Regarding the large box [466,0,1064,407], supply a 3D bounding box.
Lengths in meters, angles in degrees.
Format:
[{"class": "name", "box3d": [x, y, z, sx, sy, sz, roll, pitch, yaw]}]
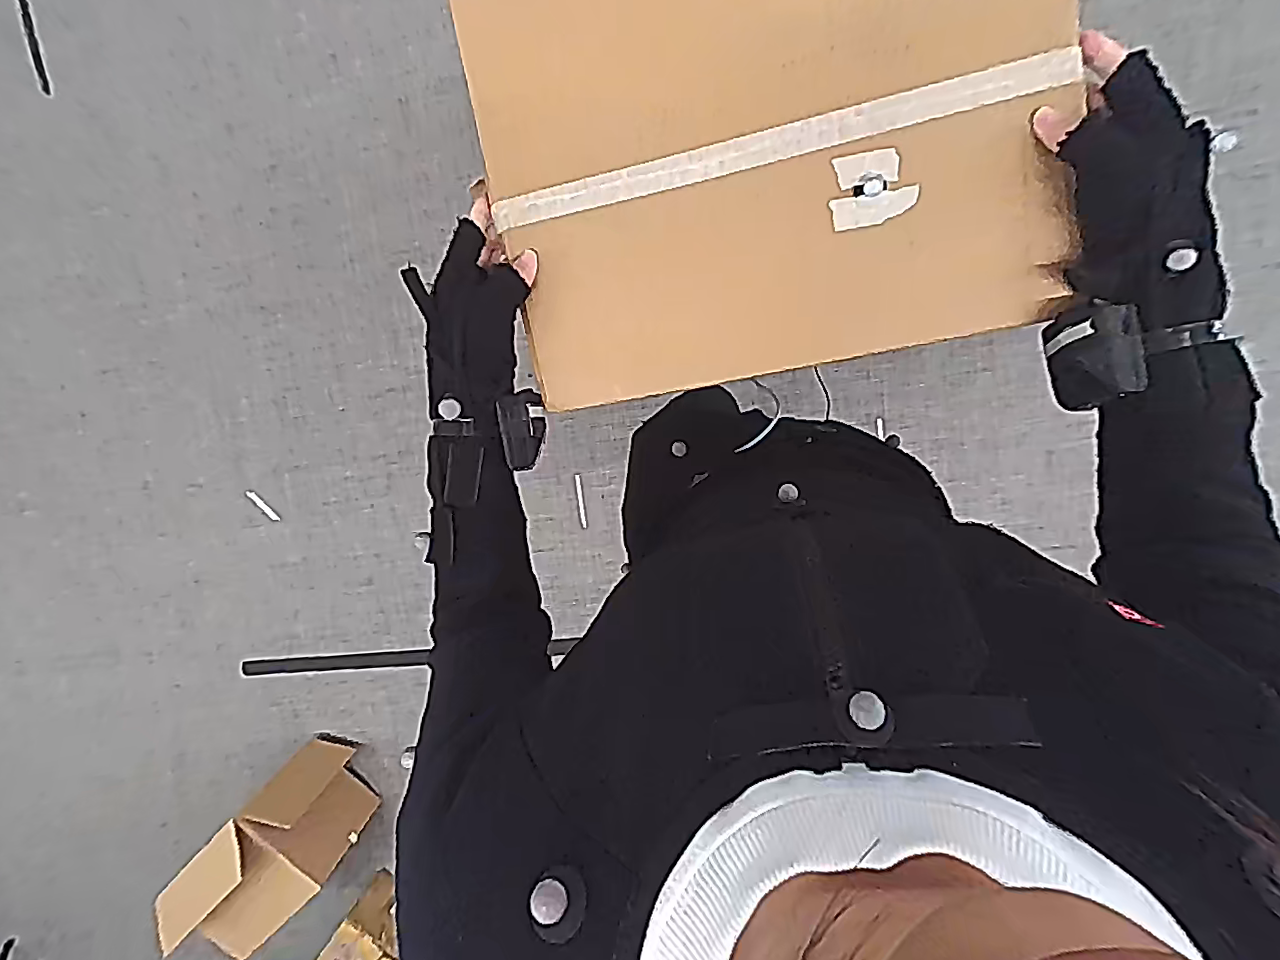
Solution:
[{"class": "large box", "box3d": [0.106, -0.273, 0.545, 0.408, 0.320, 0.320, -10, 102, 9]}]
